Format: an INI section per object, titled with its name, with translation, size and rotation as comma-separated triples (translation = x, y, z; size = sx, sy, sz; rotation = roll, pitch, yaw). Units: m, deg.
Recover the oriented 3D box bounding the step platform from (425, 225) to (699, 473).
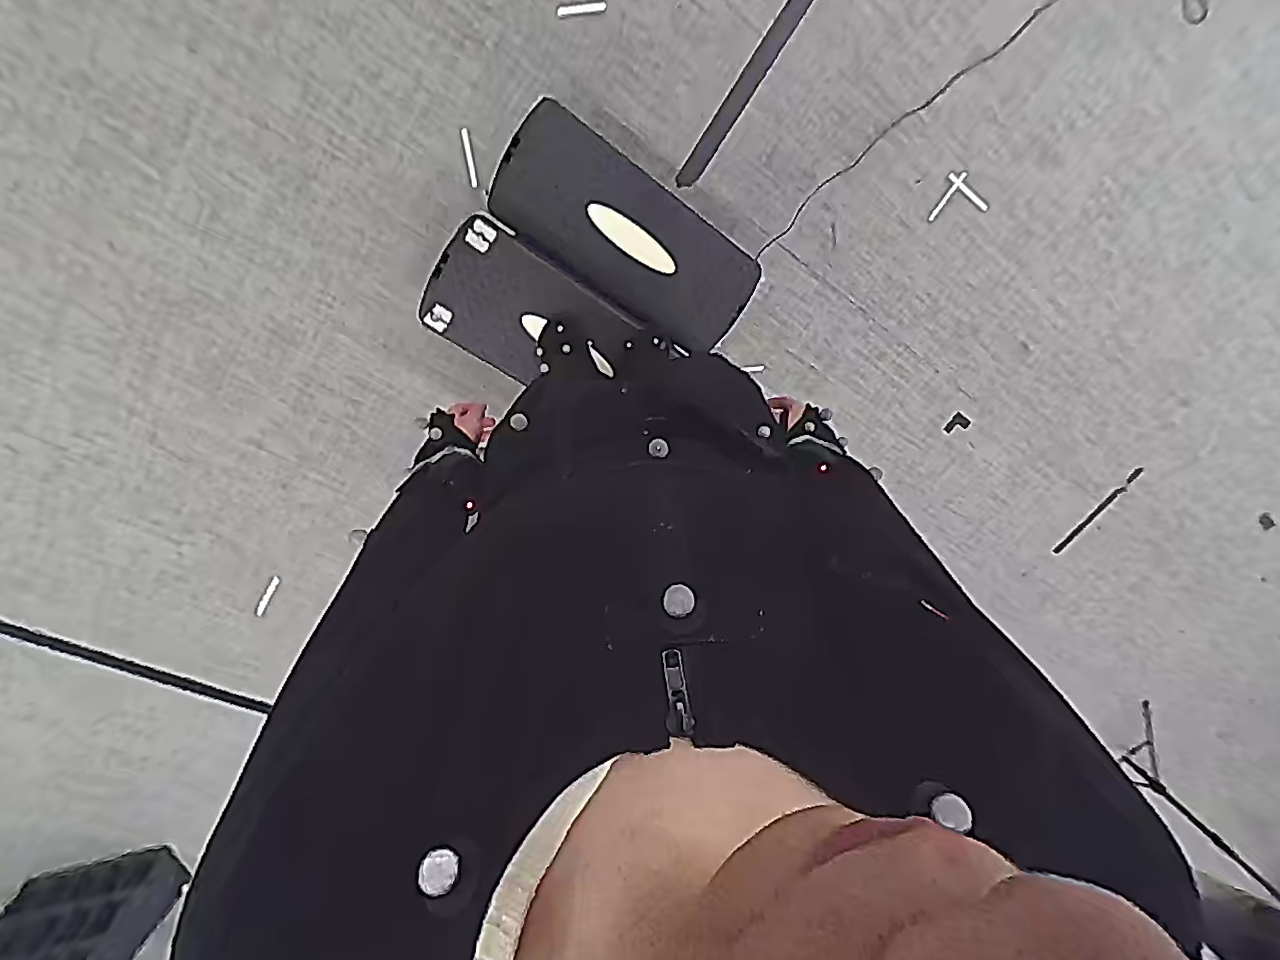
[step platform]
translation = -0.178, -0.310, 1.367
size = 0.684, 0.204, 0.286
rotation = 35, 102, -18
